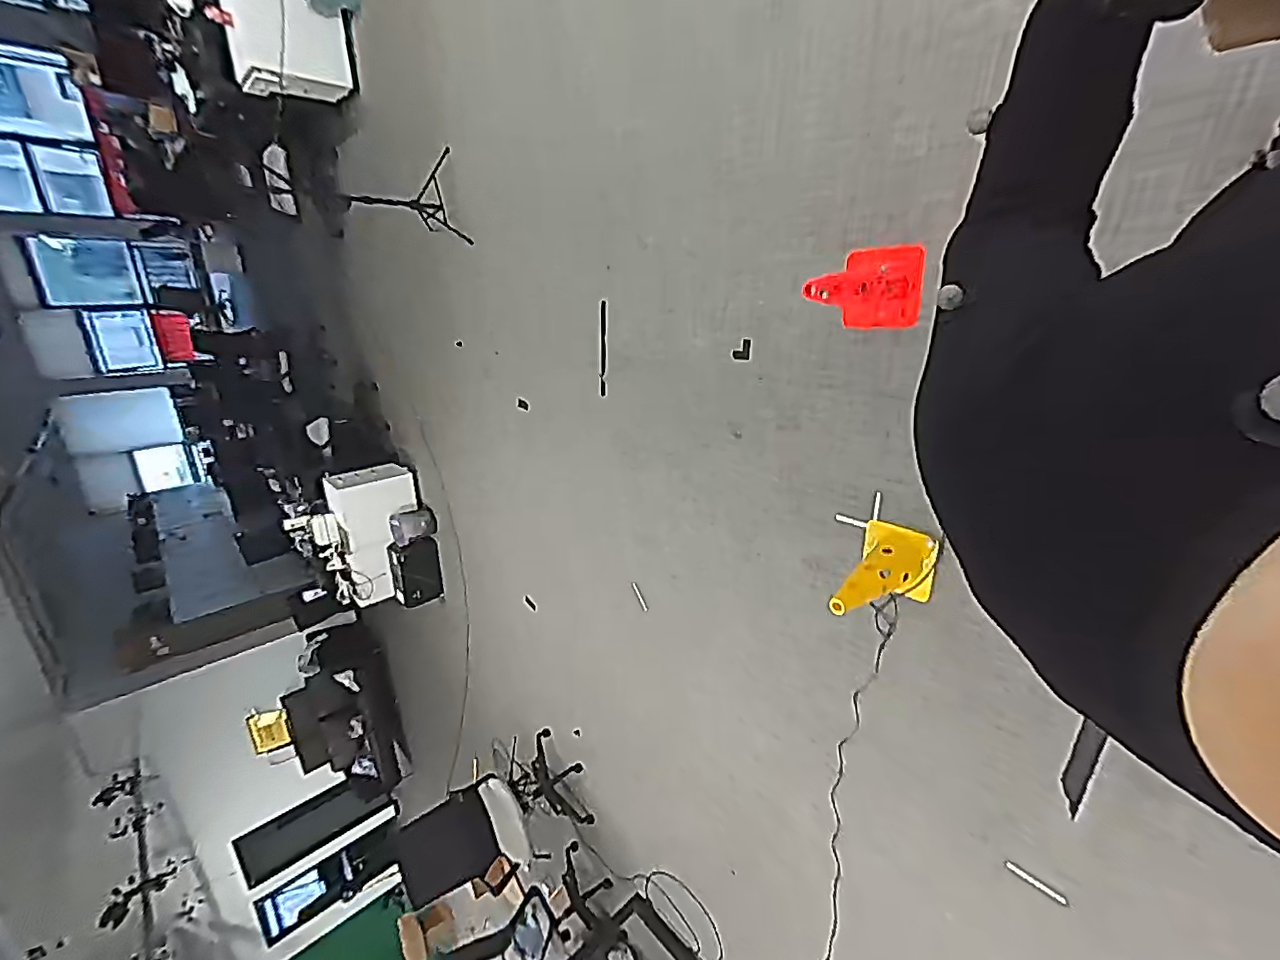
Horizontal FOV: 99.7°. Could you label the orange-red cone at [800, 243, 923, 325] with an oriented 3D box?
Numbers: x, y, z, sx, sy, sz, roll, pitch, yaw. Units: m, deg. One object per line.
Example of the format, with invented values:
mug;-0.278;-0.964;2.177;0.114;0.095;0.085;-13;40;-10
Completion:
orange-red cone;0.499;-0.462;1.299;0.198;0.360;0.199;18;118;45
